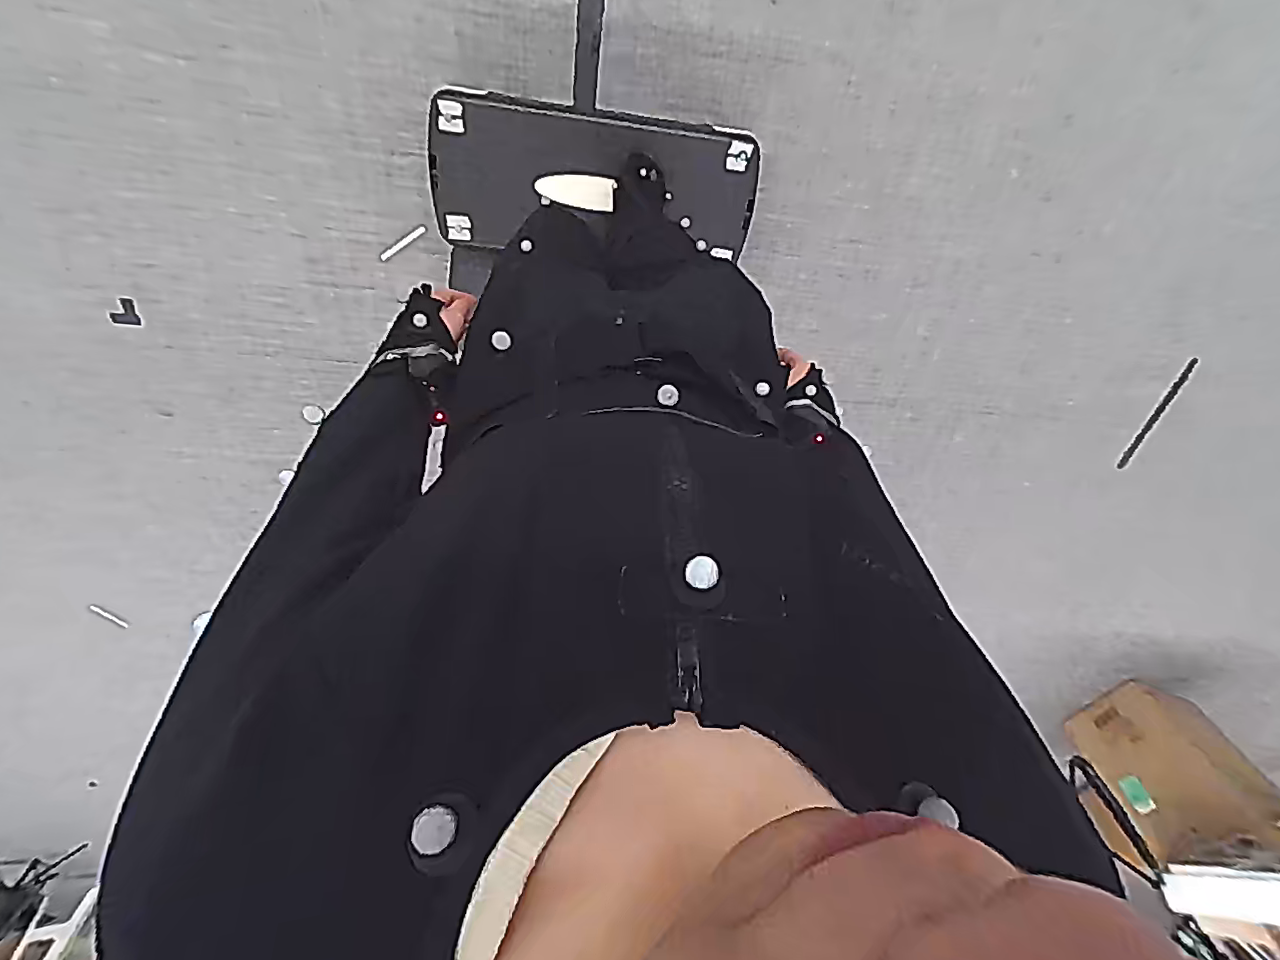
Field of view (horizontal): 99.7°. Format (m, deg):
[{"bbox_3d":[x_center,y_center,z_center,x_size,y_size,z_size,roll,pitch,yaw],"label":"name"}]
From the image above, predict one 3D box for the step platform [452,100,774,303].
[{"bbox_3d":[-0.059,-0.605,1.203,0.684,0.204,0.286,7,122,-9],"label":"step platform"}]
